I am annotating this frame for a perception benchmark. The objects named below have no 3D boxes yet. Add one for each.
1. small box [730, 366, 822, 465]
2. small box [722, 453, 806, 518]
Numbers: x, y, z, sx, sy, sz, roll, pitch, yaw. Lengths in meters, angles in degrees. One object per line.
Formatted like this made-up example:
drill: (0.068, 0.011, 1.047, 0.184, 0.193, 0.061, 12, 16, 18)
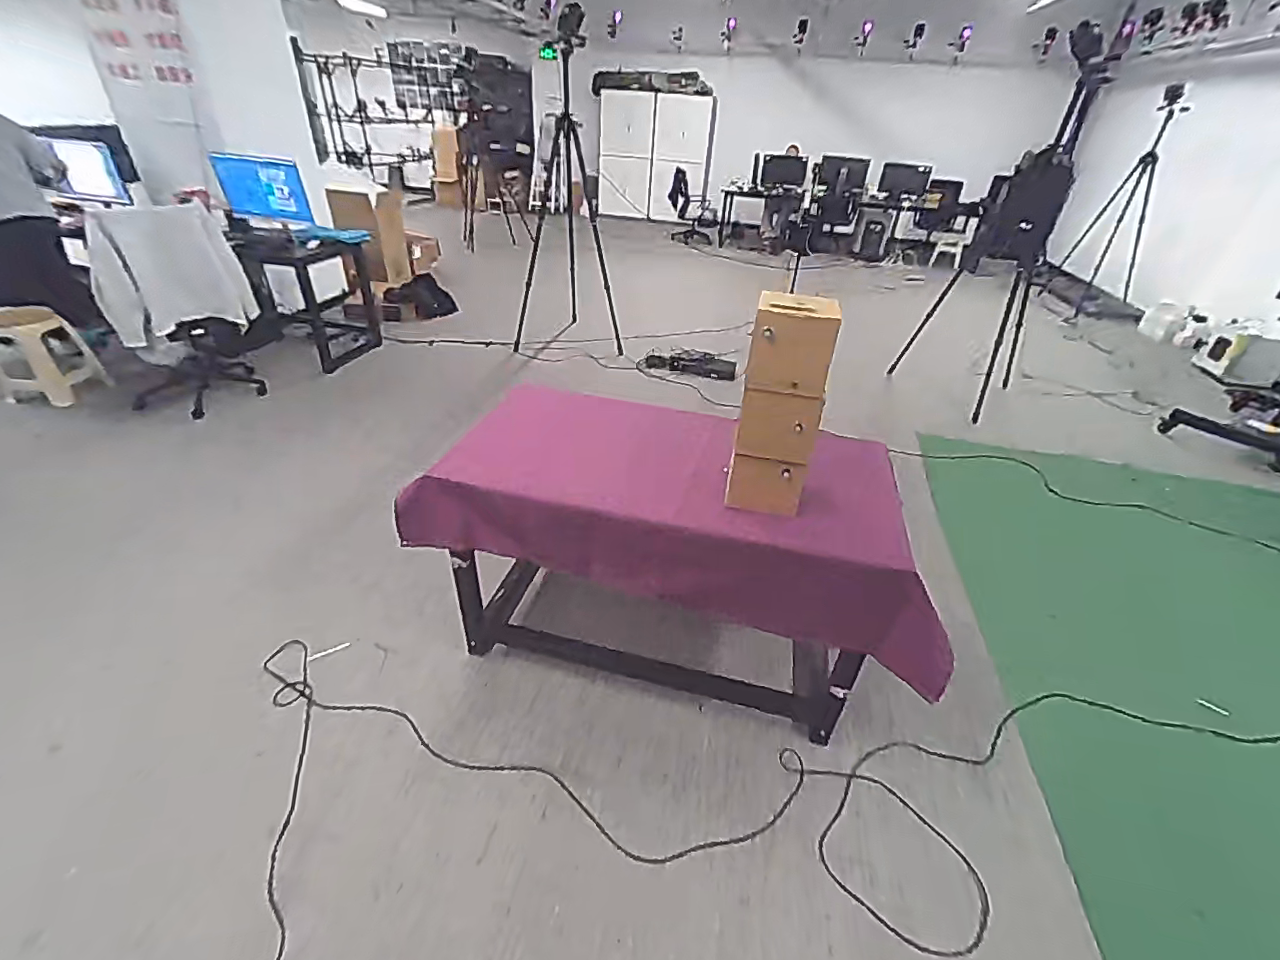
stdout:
small box: (0.318, -0.151, 1.274, 0.179, 0.176, 0.168, 10, 32, 10)
small box: (0.314, -0.023, 1.376, 0.179, 0.176, 0.168, 9, 32, 8)
